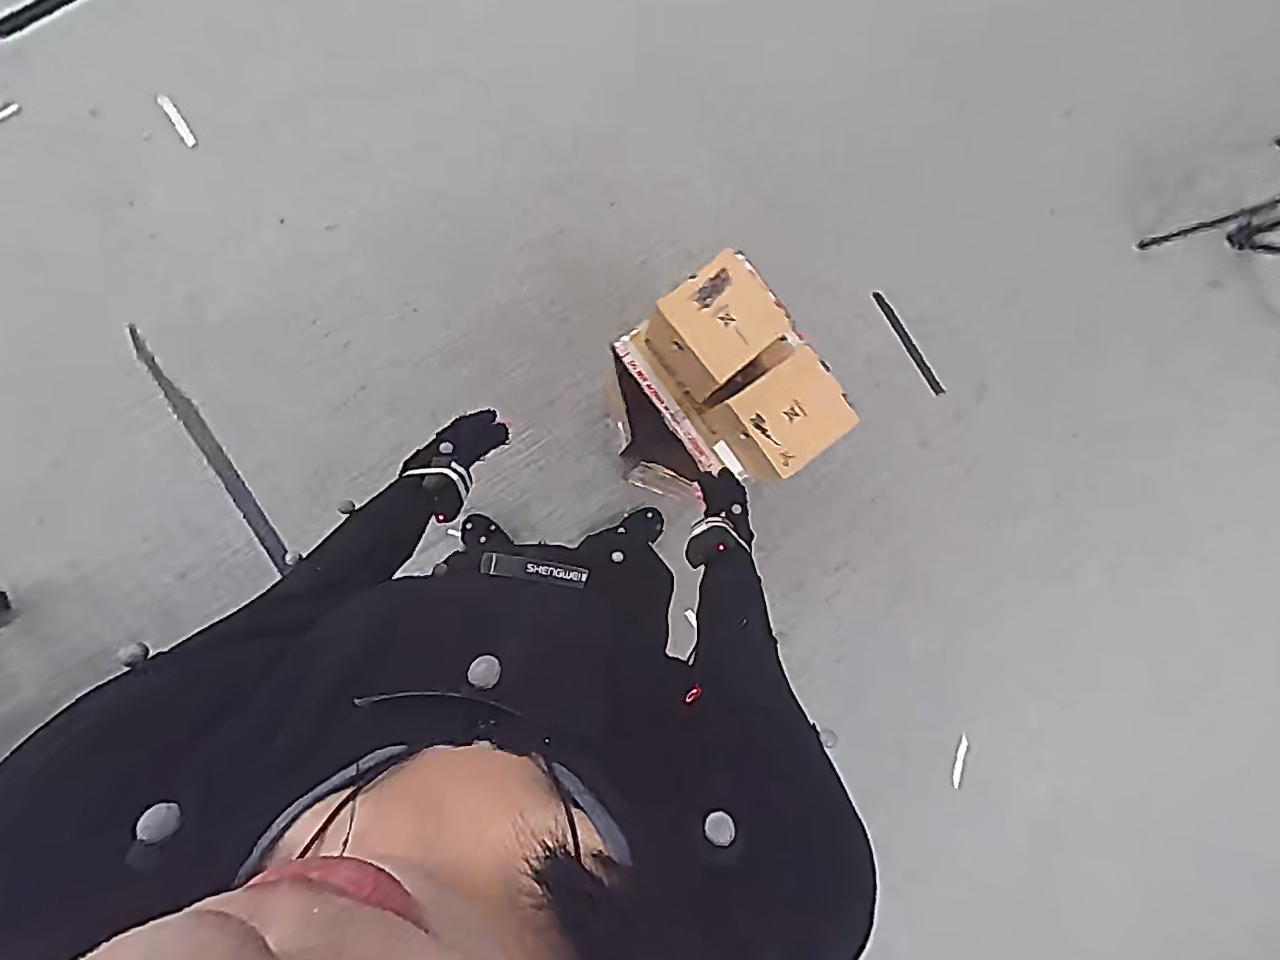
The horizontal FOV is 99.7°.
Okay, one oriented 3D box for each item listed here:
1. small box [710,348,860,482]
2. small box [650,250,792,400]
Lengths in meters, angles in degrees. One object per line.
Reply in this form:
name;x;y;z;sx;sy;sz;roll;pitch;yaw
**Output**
small box;0.254;-0.111;0.991;0.179;0.176;0.168;-36;93;-6
small box;0.135;-0.269;0.983;0.168;0.176;0.179;-39;91;-6
